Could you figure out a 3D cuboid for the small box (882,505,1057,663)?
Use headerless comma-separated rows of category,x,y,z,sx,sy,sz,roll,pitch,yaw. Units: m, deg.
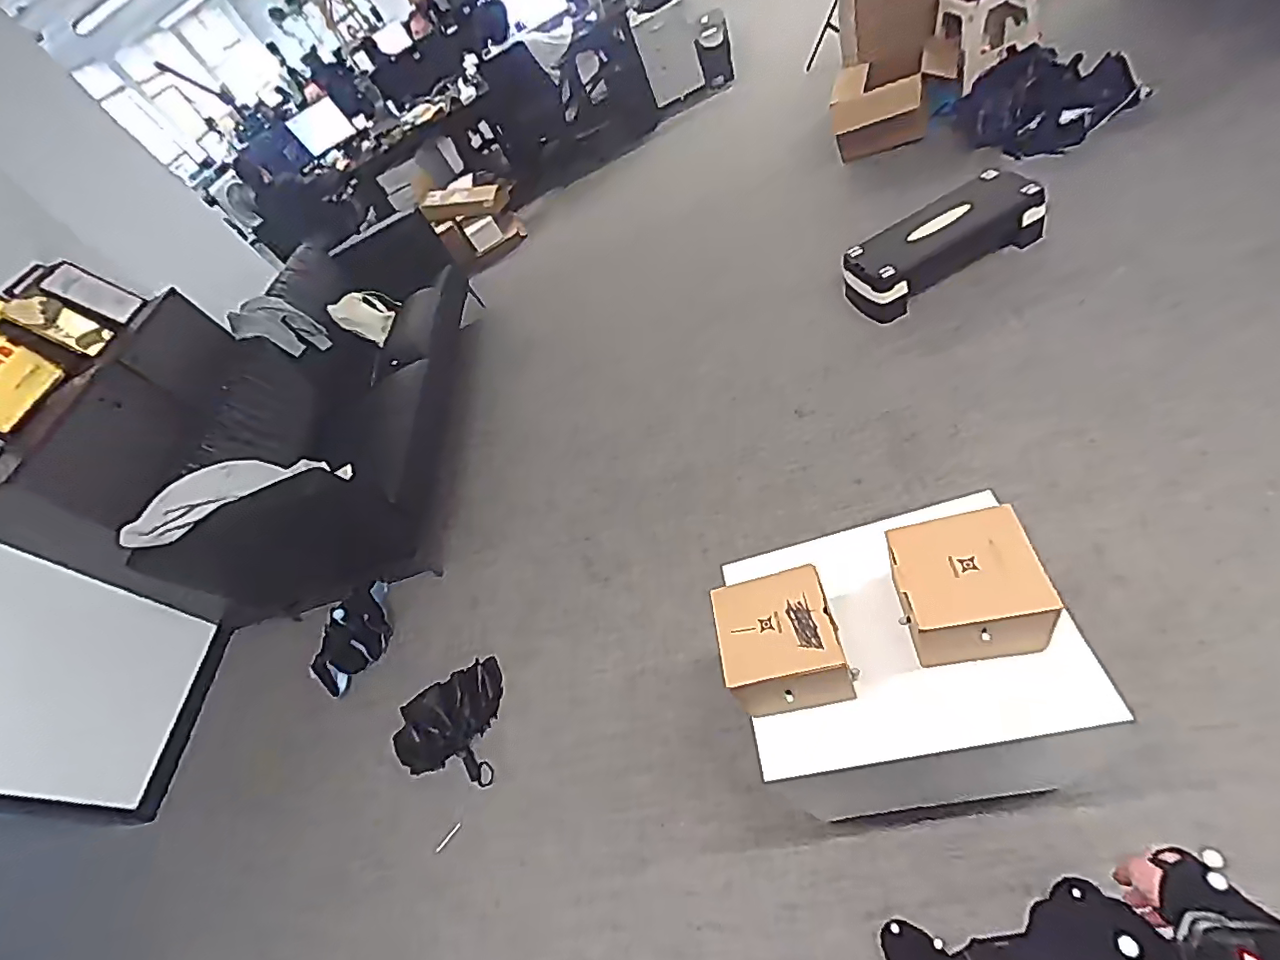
small box,0.488,0.166,0.821,0.179,0.176,0.168,-15,51,18

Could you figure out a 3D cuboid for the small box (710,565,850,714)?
small box,0.231,0.266,0.884,0.179,0.176,0.168,-19,48,16
